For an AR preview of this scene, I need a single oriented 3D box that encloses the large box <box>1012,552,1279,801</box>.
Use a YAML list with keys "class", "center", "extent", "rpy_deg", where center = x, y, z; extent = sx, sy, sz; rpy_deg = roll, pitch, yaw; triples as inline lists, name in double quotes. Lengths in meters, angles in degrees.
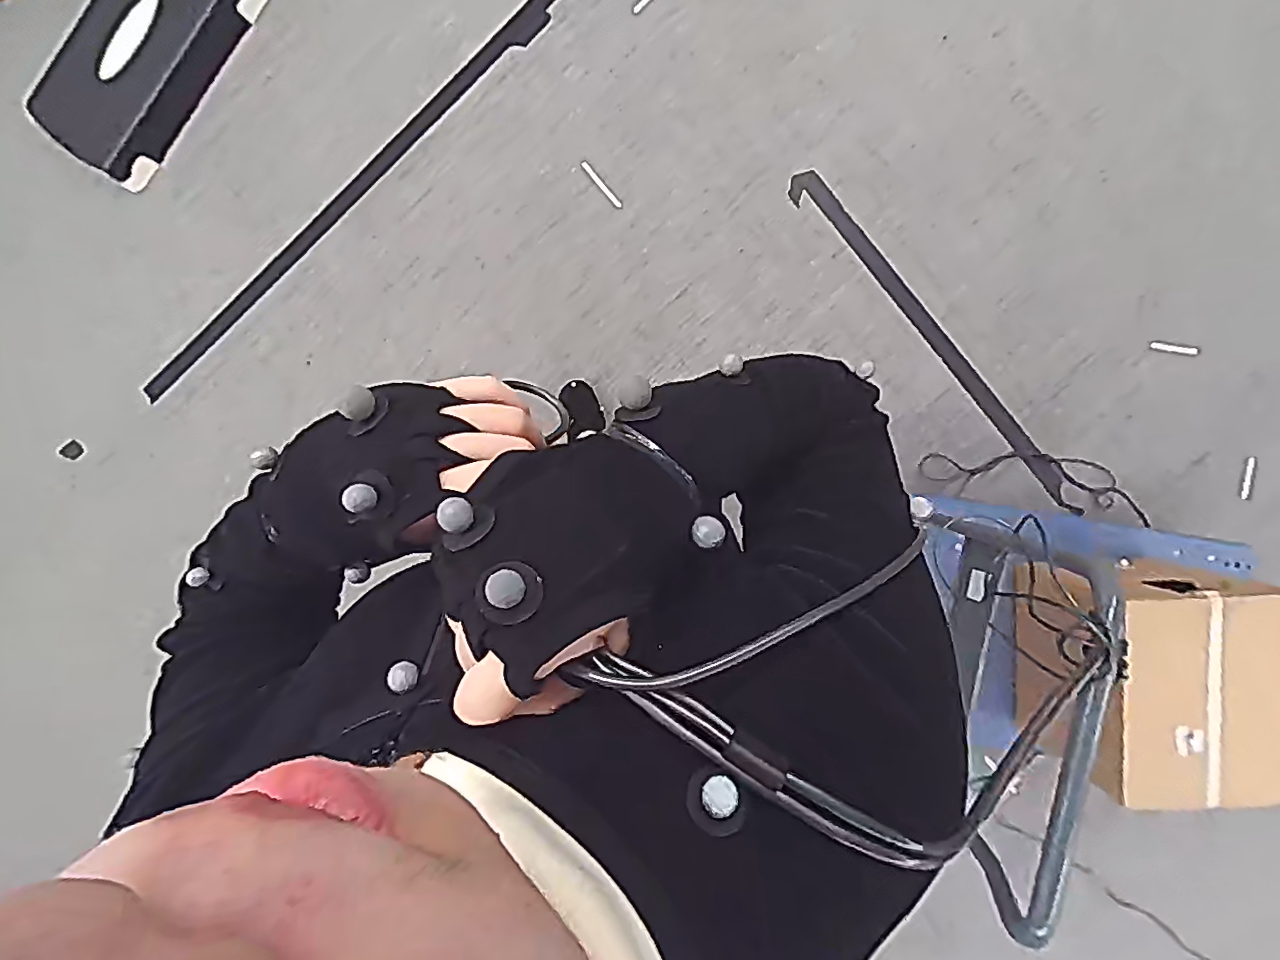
- class: "large box"
  center: [1.041, 0.387, 1.147]
  extent: [0.320, 0.320, 0.408]
  rpy_deg: [-3, 95, 3]
